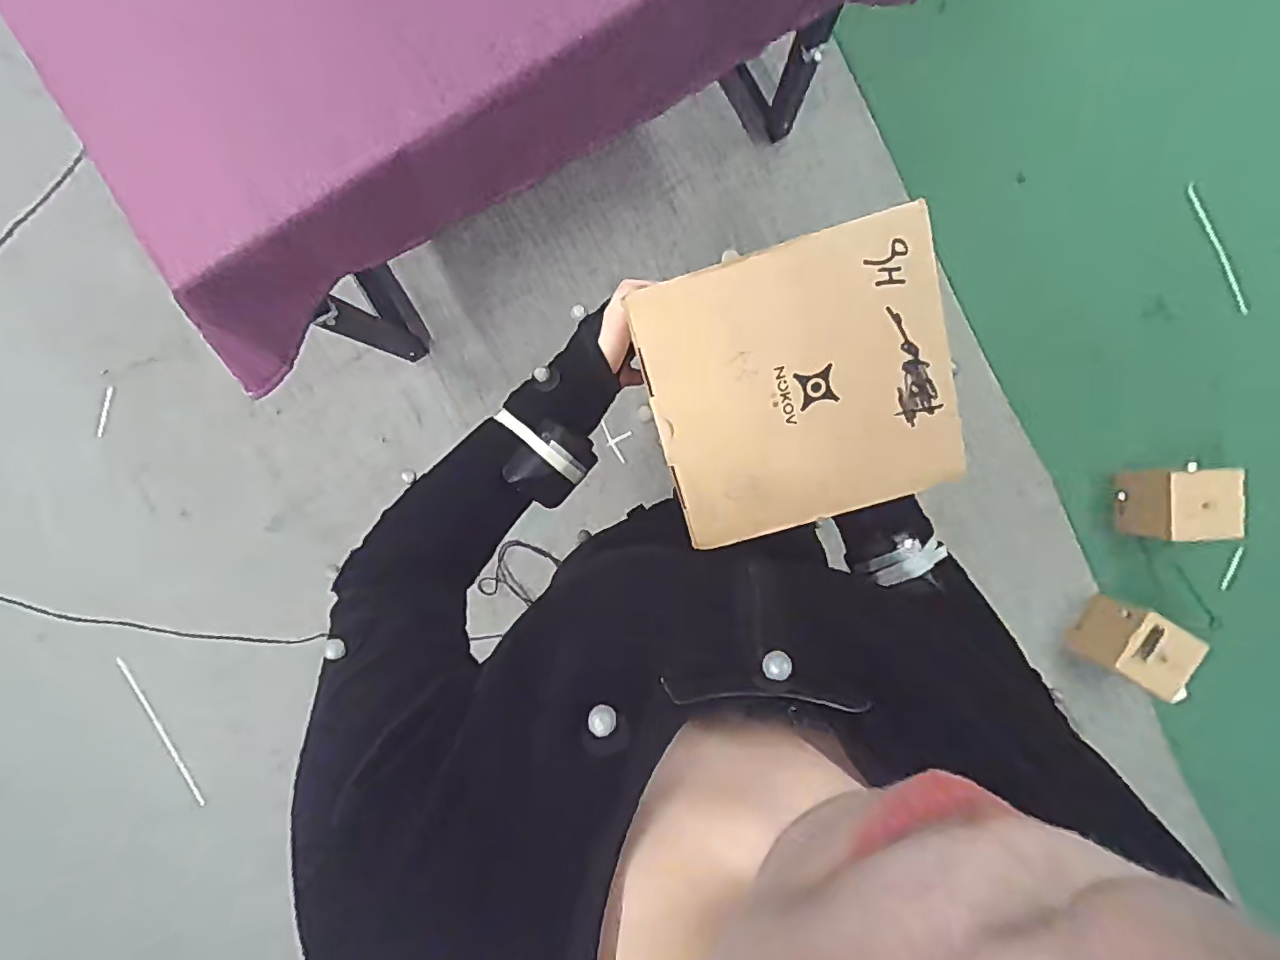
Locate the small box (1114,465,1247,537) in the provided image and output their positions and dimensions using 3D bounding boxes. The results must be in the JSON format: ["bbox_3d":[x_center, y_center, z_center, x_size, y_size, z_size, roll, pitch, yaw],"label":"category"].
[{"bbox_3d":[1.357,0.048,1.366,0.179,0.176,0.168,-3,92,1],"label":"small box"}]
